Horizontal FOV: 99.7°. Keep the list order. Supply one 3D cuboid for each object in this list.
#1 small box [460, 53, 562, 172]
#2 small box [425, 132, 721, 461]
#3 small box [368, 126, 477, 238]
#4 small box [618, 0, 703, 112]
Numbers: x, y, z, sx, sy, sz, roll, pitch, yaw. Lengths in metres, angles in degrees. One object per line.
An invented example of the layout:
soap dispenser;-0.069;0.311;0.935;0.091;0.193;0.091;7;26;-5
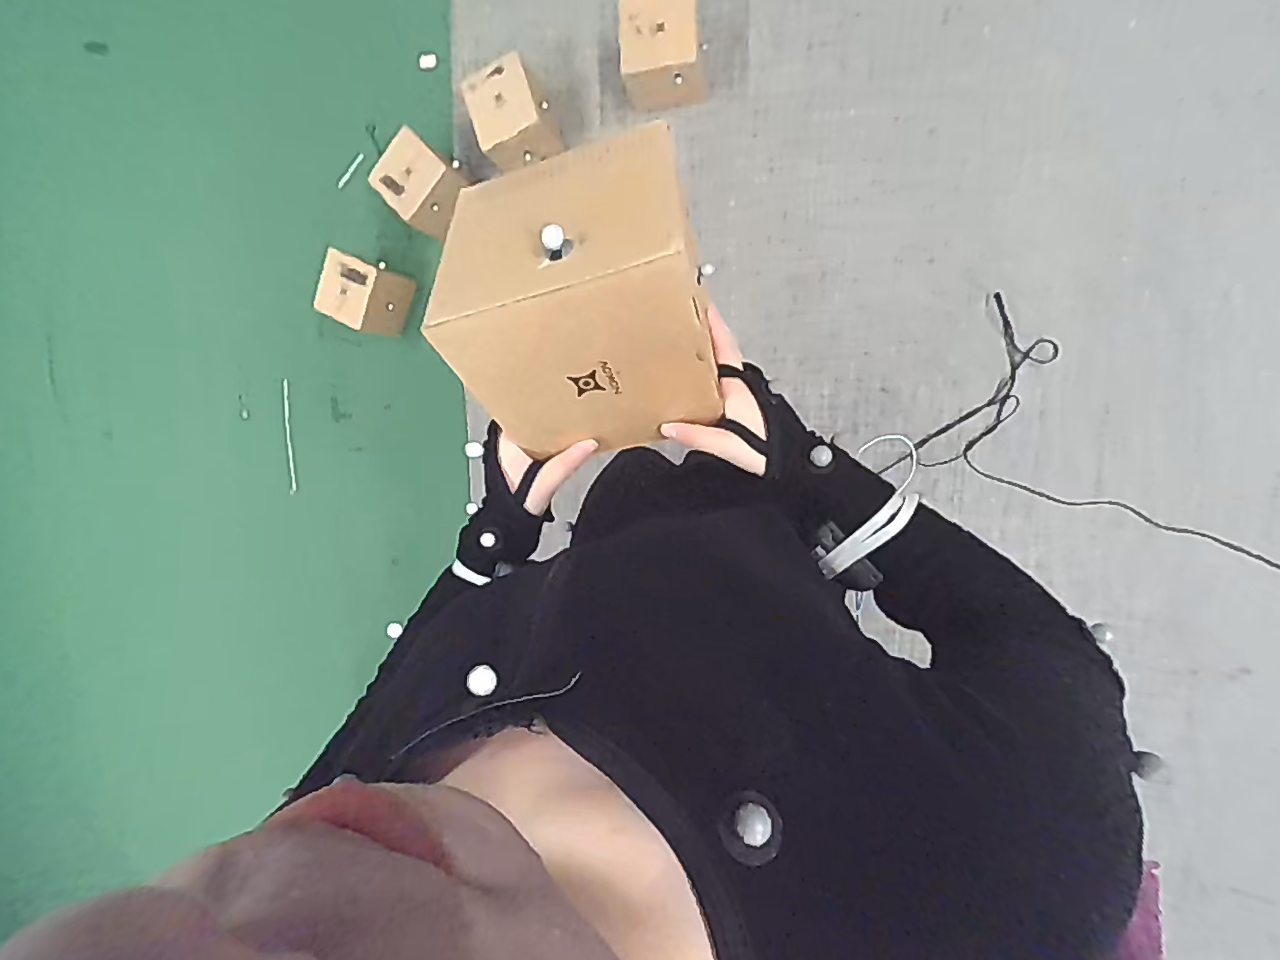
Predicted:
small box;-0.319;-0.918;1.378;0.168;0.176;0.179;-16;94;16
small box;-0.038;-0.141;0.440;0.179;0.168;0.176;-10;55;12
small box;-0.578;-0.791;1.459;0.179;0.176;0.168;-44;86;15
small box;0.055;-1.004;1.272;0.179;0.176;0.168;0;97;13
